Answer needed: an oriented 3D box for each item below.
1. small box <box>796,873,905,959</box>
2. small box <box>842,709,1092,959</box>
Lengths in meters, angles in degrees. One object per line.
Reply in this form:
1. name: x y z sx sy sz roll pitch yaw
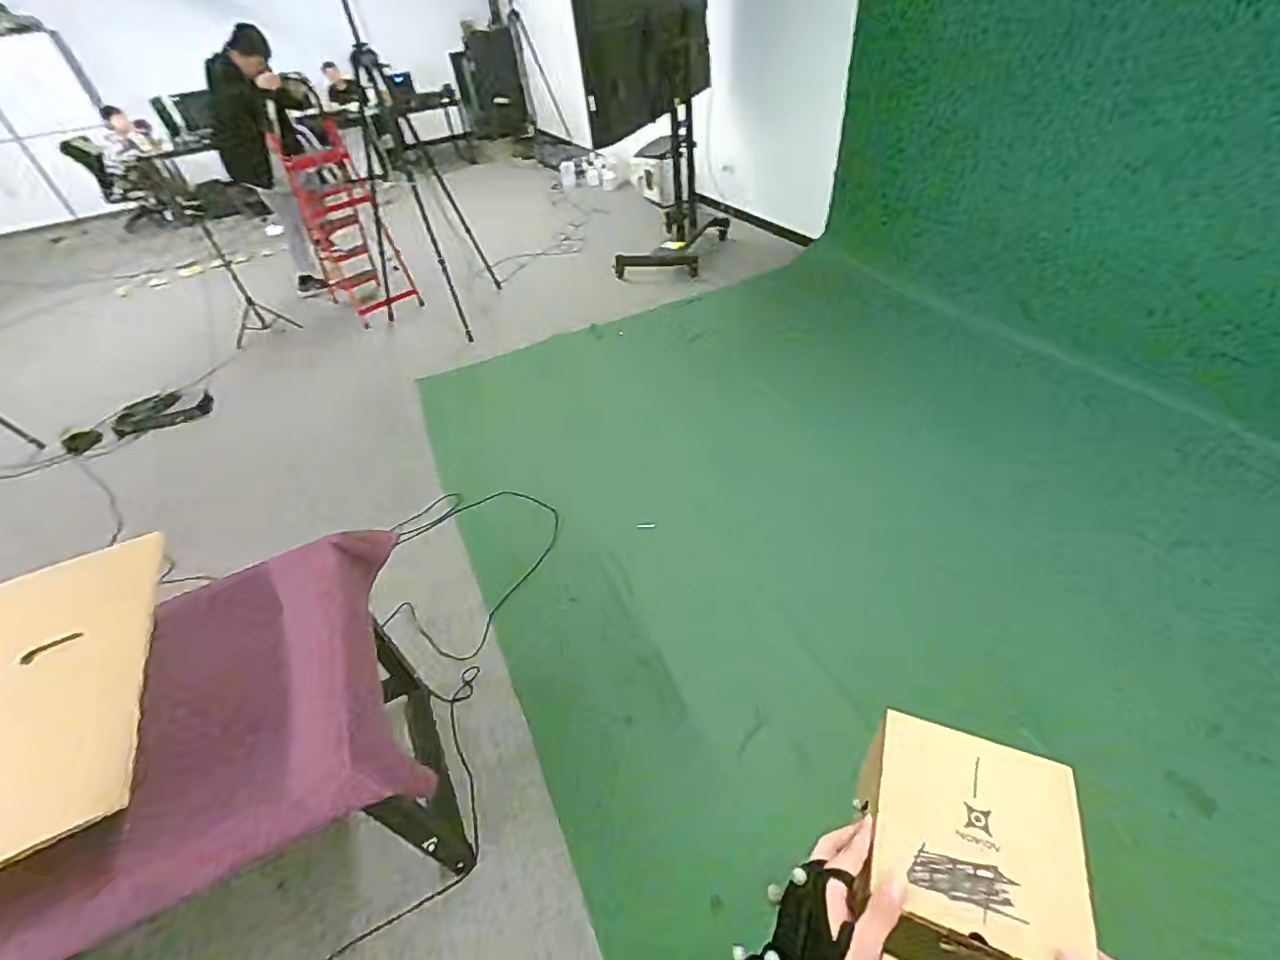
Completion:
1. small box: 0.462 0.979 1.181 0.179 0.176 0.168 -22 45 -14
2. small box: 0.305 0.370 0.536 0.168 0.176 0.179 12 45 20
